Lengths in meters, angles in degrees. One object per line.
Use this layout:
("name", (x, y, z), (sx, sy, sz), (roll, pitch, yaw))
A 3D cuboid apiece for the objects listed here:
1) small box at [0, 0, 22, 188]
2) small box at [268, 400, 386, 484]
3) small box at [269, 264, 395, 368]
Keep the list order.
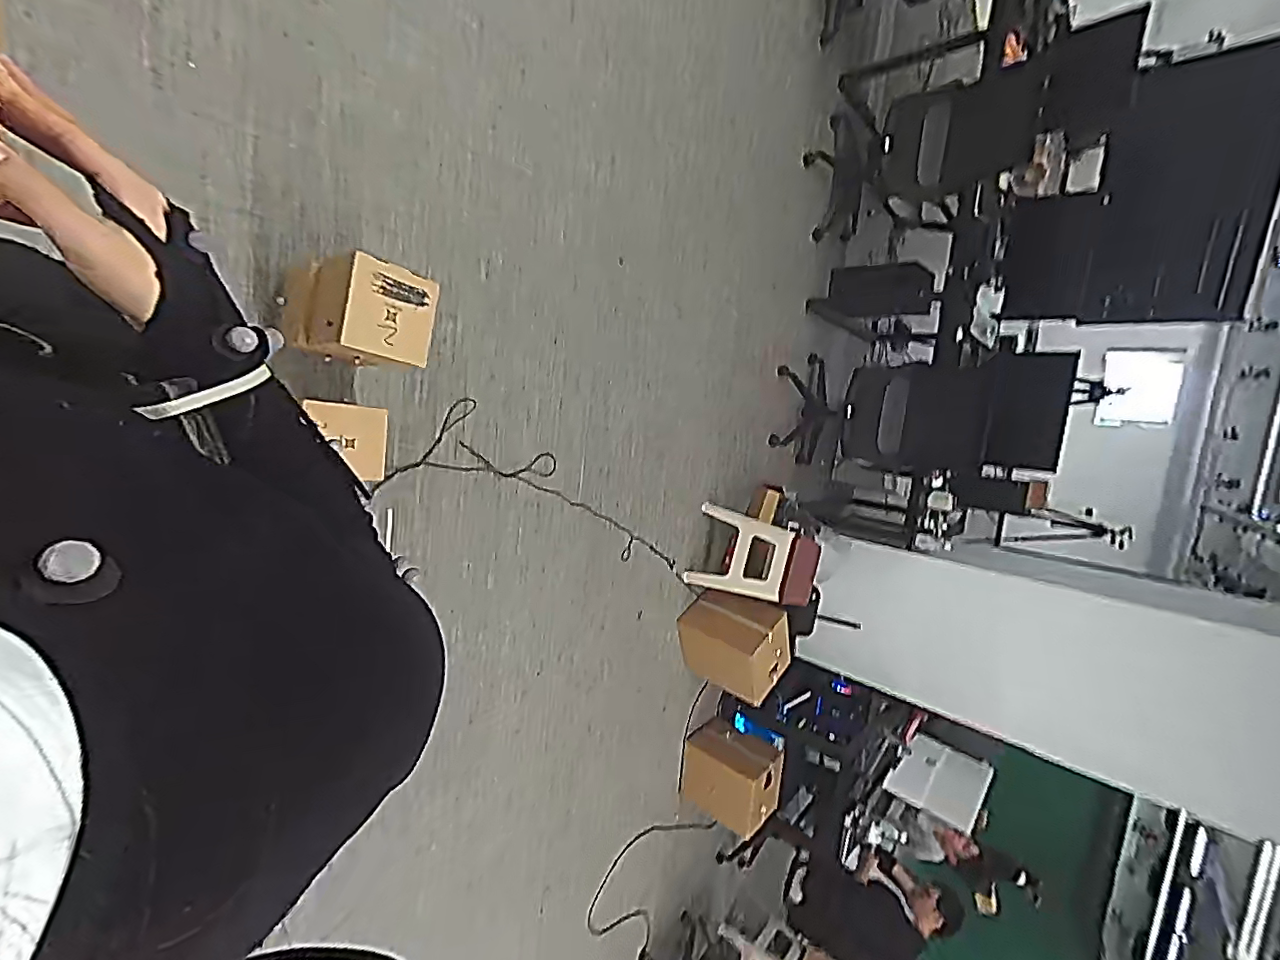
("small box", (-0.392, -0.237, 0.226), (0.168, 0.176, 0.179), (-4, 114, -46))
("small box", (-0.693, -0.085, 1.199), (0.179, 0.176, 0.168), (2, 95, -50))
("small box", (-0.668, -0.348, 1.173), (0.179, 0.176, 0.168), (10, 89, -49))
